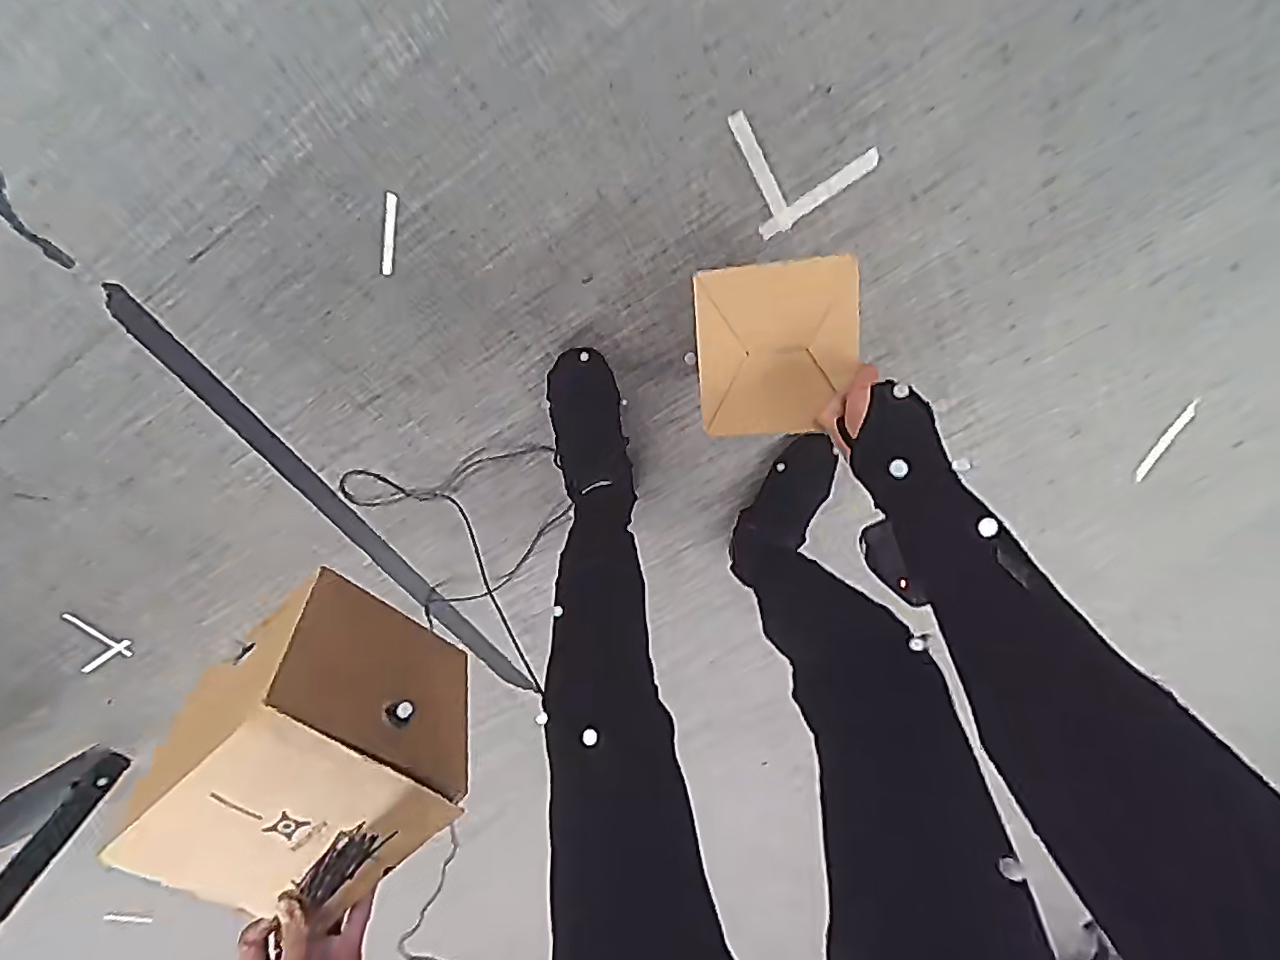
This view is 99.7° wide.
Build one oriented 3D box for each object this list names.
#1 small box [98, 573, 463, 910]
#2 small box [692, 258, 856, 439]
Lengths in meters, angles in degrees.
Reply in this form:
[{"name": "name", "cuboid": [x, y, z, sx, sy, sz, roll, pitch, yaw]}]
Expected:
[{"name": "small box", "cuboid": [-0.272, 0.213, 0.466, 0.168, 0.176, 0.179, -42, 118, 4]}, {"name": "small box", "cuboid": [0.152, -0.152, 0.640, 0.168, 0.176, 0.179, -3, 101, 10]}]
